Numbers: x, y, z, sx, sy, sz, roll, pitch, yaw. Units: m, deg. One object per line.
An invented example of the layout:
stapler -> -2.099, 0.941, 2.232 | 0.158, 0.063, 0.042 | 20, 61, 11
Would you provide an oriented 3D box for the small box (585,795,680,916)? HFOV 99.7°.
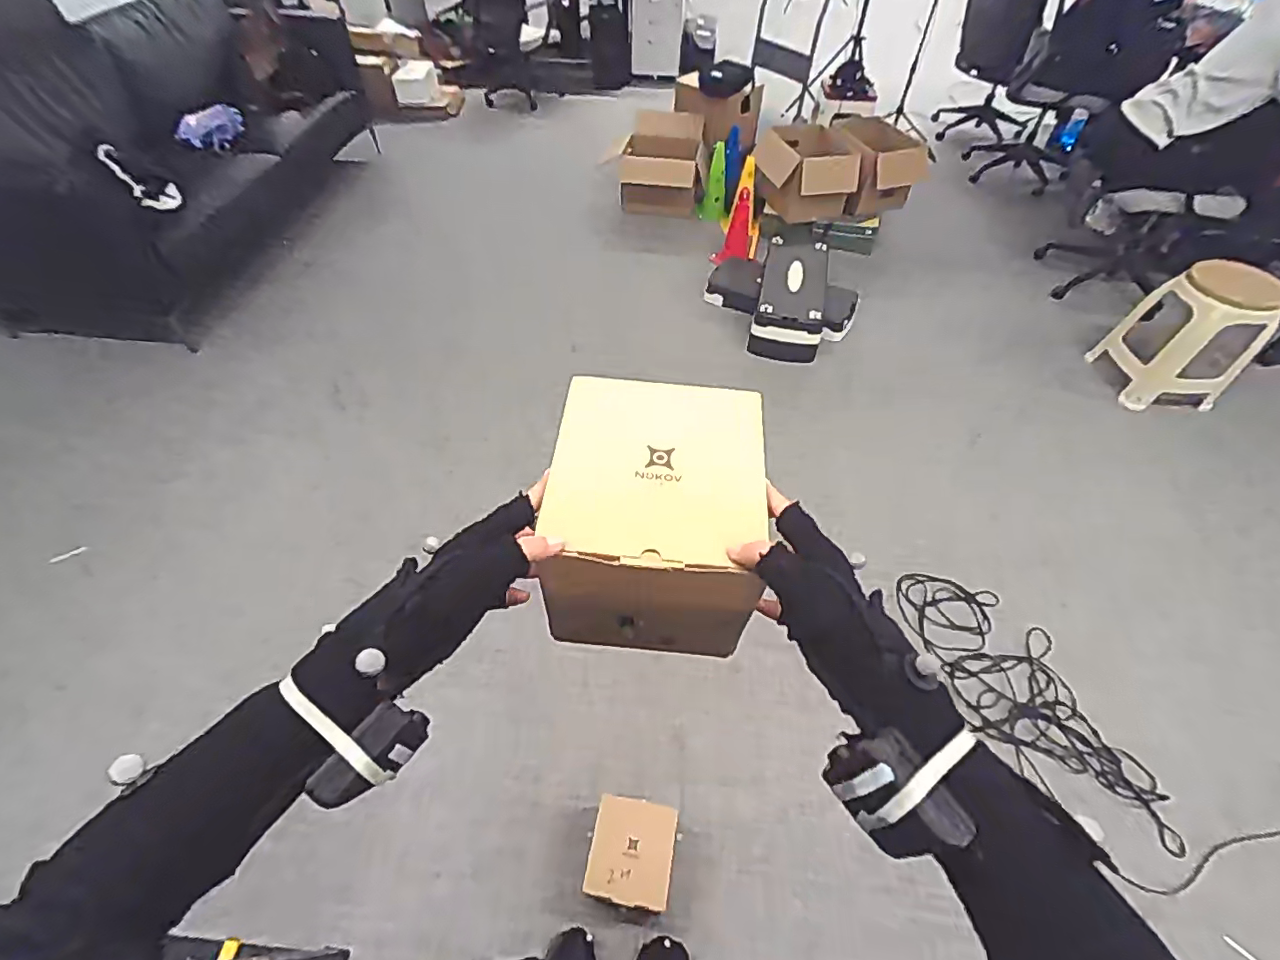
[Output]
small box -> -0.013, 0.800, 1.149 | 0.168, 0.176, 0.179 | 8, 51, 7
